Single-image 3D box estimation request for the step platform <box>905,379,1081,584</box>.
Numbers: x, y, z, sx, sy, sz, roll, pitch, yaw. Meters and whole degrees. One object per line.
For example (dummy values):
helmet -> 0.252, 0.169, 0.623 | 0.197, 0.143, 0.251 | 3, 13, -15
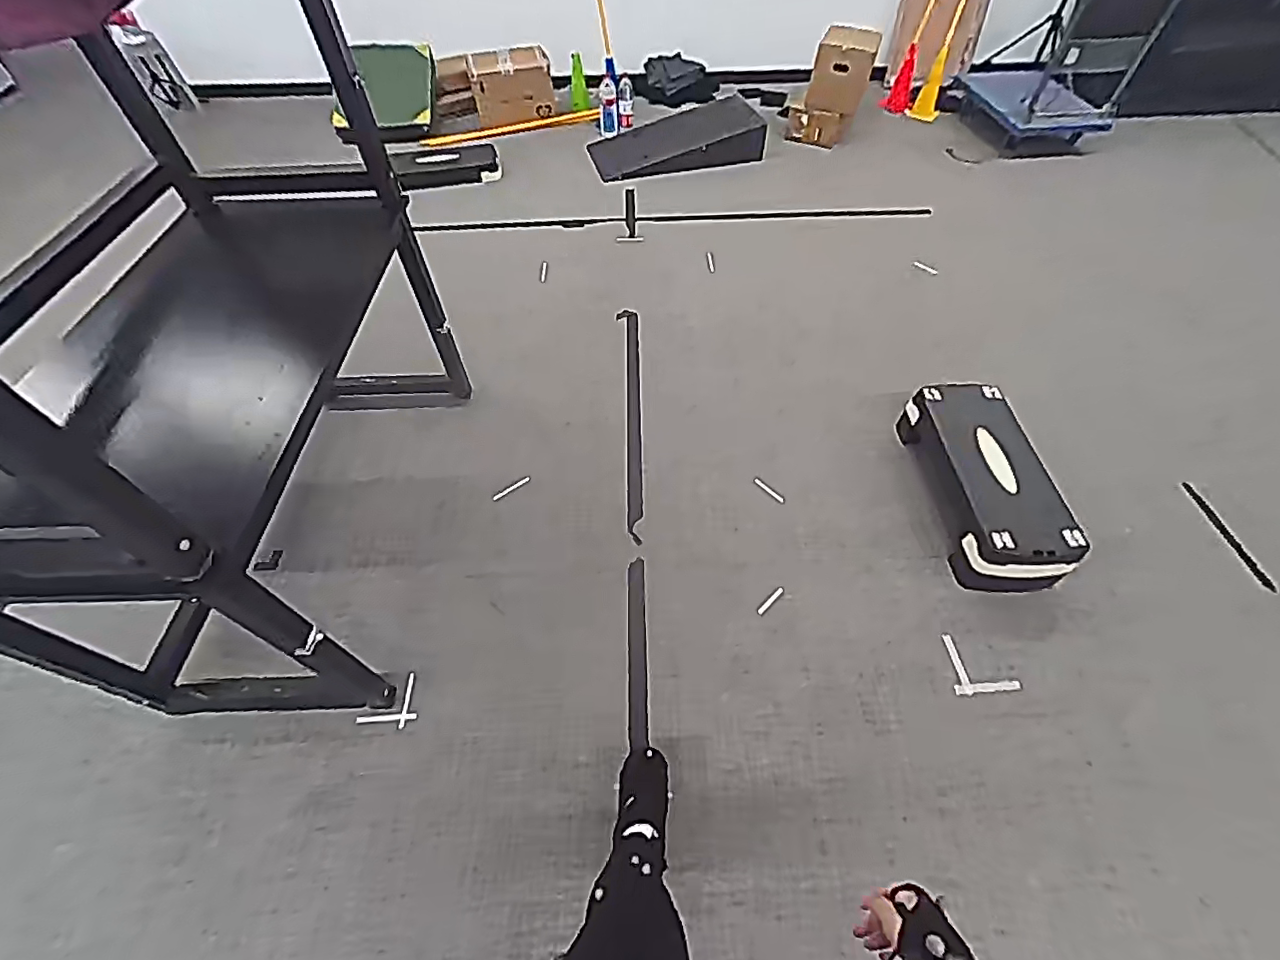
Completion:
step platform -> 1.072, -0.028, 1.699 | 0.286, 0.204, 0.684 | 3, 52, 4
